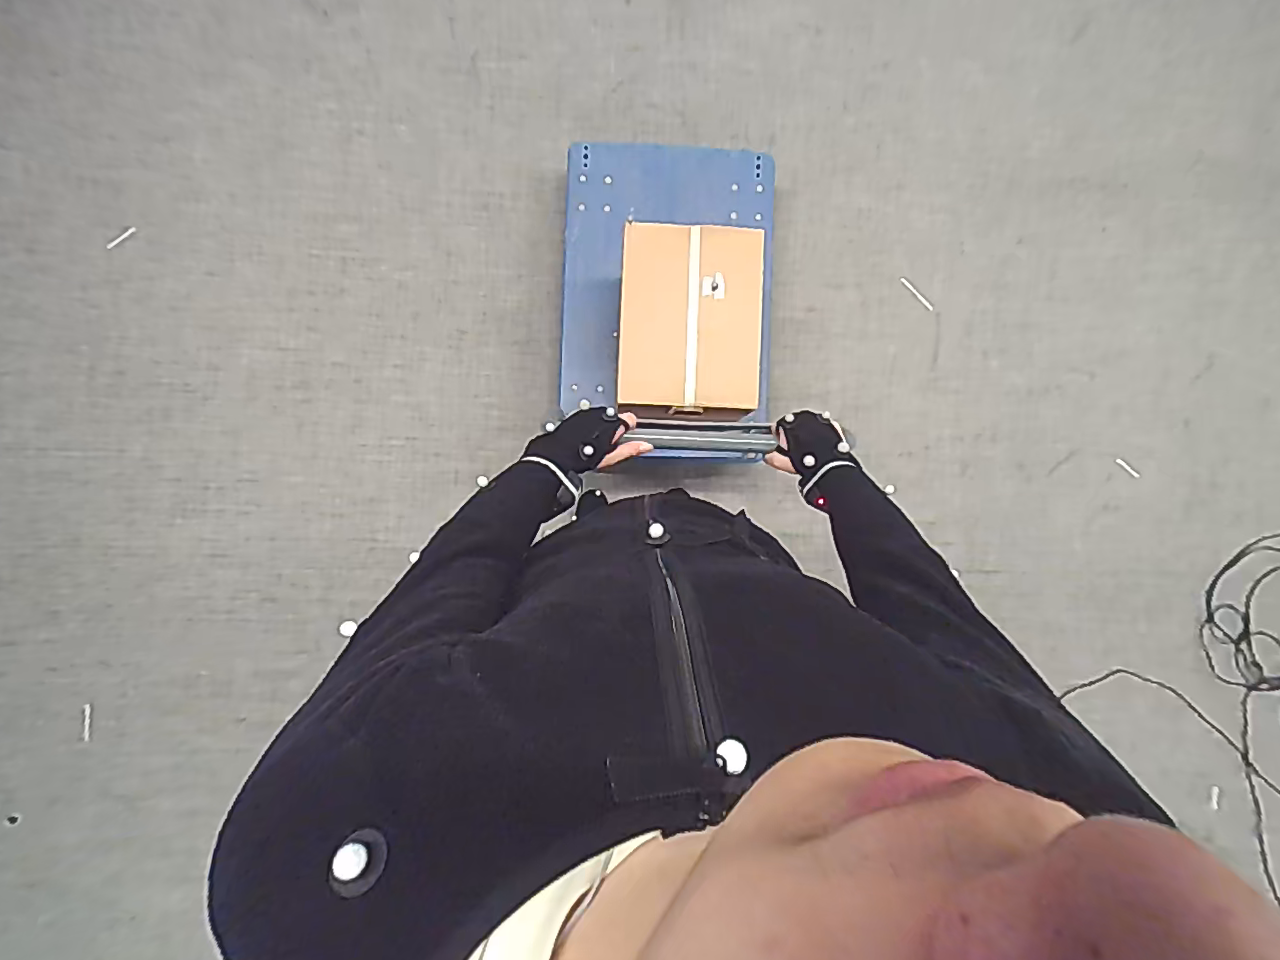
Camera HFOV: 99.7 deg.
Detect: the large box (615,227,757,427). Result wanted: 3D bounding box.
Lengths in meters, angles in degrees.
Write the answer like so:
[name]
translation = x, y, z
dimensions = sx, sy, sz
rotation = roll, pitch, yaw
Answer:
[large box]
translation = 0.099, -0.350, 1.338
dimensions = 0.320, 0.320, 0.408
rotation = 2, 87, -3
